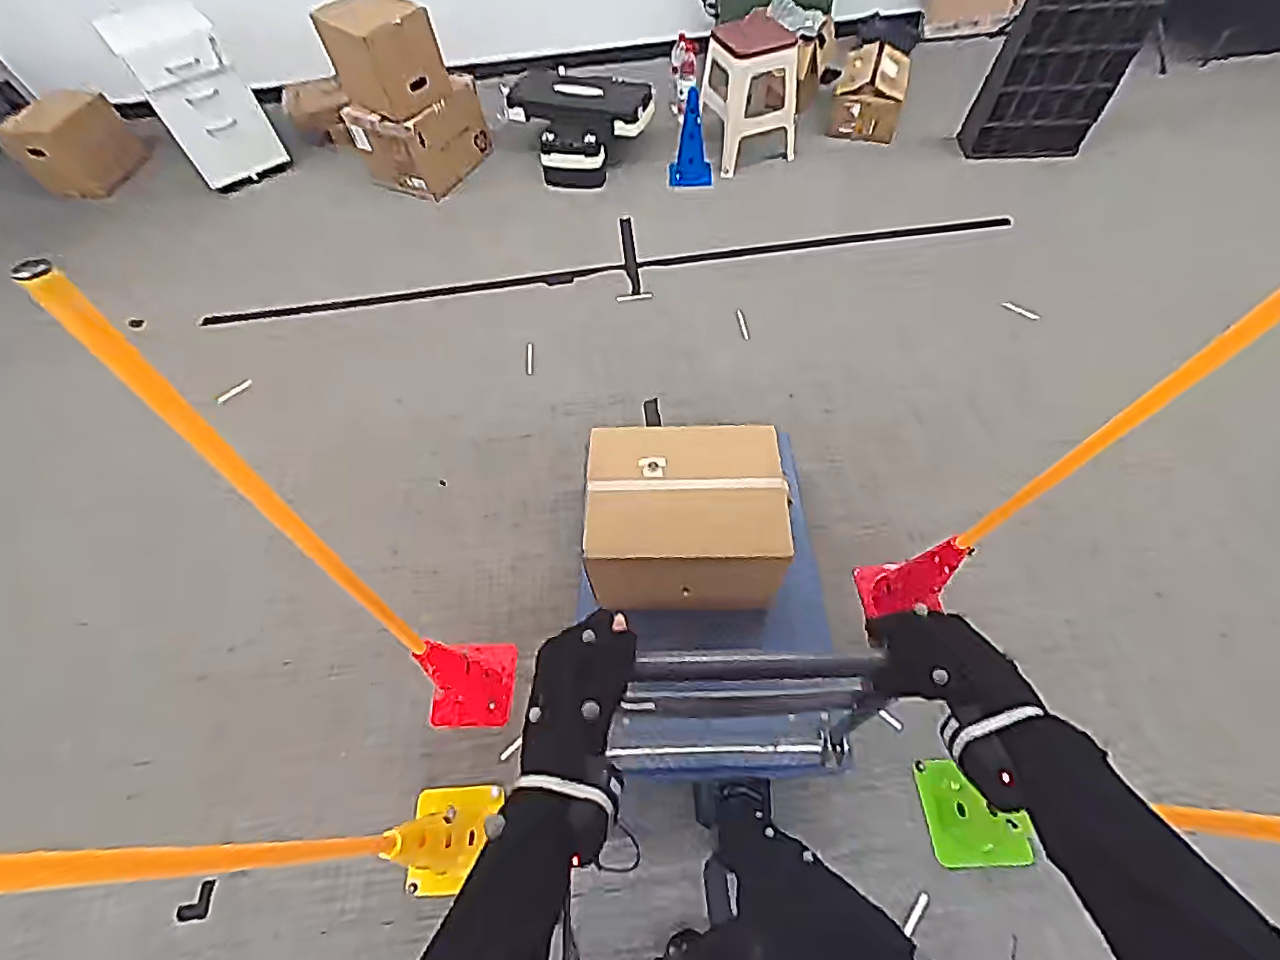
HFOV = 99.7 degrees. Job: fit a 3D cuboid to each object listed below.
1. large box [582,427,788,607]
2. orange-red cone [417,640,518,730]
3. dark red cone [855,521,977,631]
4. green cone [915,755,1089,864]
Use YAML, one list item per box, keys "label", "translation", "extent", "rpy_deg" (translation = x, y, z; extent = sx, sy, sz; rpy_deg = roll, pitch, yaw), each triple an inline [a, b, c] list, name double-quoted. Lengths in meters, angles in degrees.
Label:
- label: "large box"
  translation: [0.095, 0.097, 1.241]
  extent: [0.408, 0.320, 0.320]
  rpy_deg: [-1, 59, 3]
- label: "orange-red cone"
  translation: [-0.427, 0.435, 1.240]
  extent: [0.198, 0.360, 0.199]
  rpy_deg: [0, 56, 3]
- label: "dark red cone"
  translation: [0.683, 0.207, 1.281]
  extent: [0.201, 0.394, 0.202]
  rpy_deg: [-6, 58, -2]
- label: "green cone"
  translation: [0.718, 0.625, 1.037]
  extent: [0.202, 0.368, 0.200]
  rpy_deg: [-3, 58, 0]
